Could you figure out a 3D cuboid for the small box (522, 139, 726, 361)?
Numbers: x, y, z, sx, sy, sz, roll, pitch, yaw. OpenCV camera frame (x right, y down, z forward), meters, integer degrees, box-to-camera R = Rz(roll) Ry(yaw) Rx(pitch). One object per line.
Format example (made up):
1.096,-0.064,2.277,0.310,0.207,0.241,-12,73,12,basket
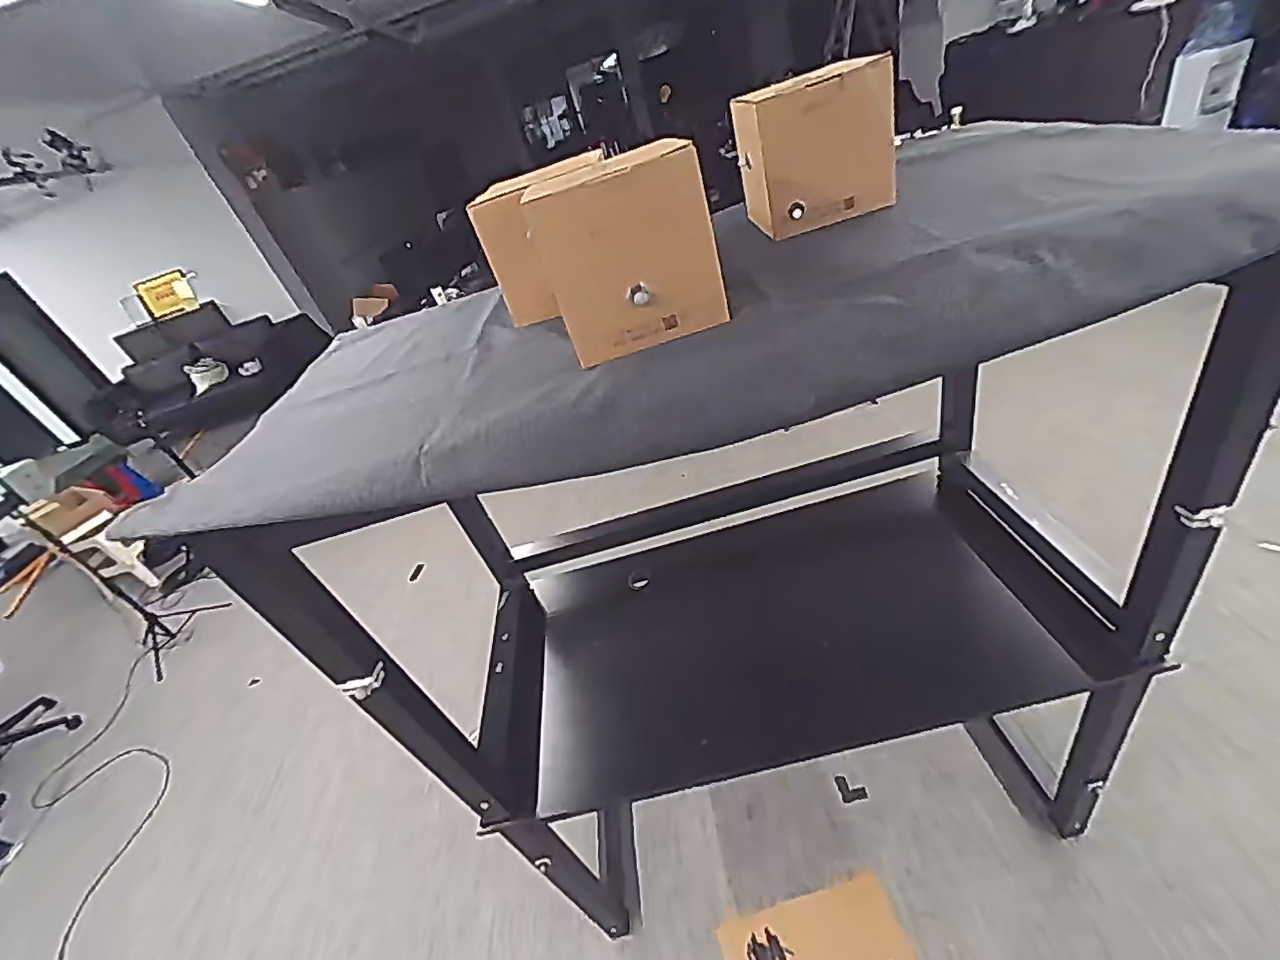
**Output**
-0.015,-0.252,0.593,0.168,0.176,0.179,-17,34,4,small box

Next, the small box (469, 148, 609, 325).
-0.110,-0.346,0.771,0.179,0.176,0.168,-13,35,9,small box

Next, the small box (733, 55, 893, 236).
0.239,-0.458,0.753,0.168,0.176,0.179,-14,35,7,small box
